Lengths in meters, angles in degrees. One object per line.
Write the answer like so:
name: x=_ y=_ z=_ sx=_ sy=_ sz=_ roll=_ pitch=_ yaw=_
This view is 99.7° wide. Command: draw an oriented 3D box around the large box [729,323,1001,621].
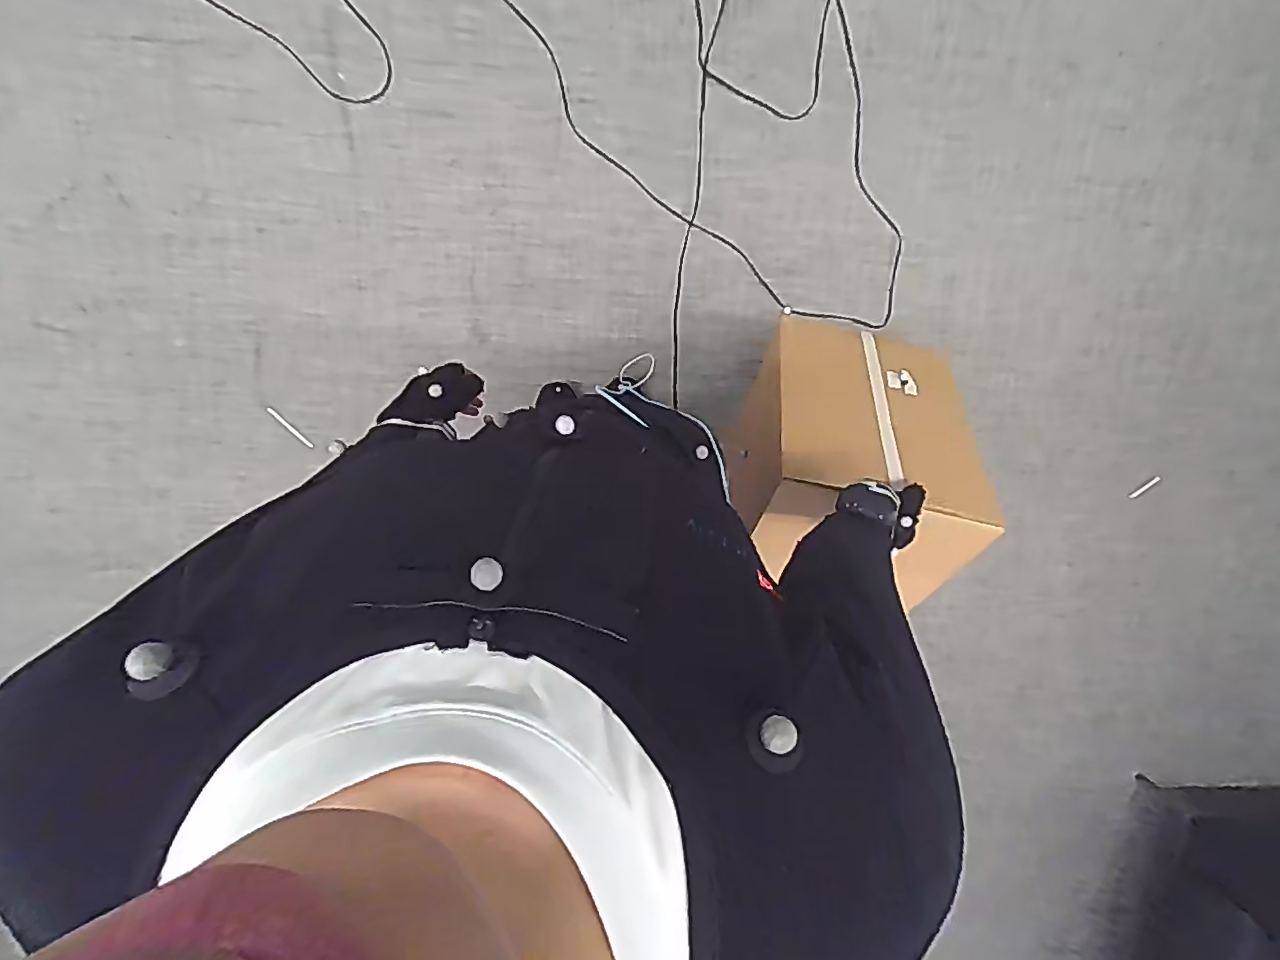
large box: x=0.352 y=-0.014 z=0.973 sx=0.320 sy=0.408 sz=0.320 roll=13 pitch=139 yaw=-1
